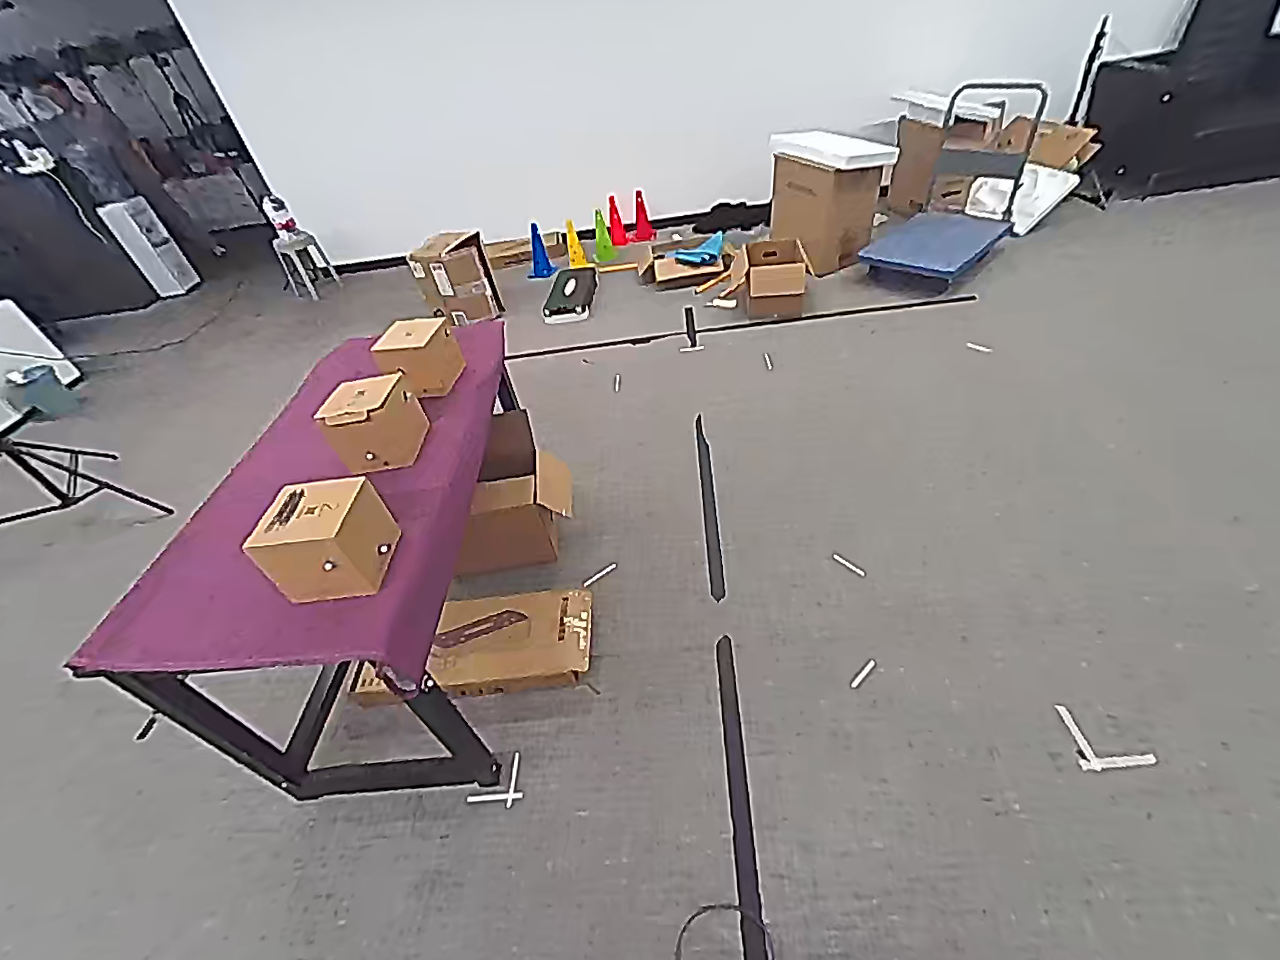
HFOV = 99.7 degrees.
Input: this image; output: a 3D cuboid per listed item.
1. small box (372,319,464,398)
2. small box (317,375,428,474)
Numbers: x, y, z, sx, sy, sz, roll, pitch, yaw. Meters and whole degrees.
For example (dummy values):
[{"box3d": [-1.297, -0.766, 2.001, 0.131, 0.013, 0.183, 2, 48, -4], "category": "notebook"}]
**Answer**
[{"box3d": [-0.643, -0.352, 1.592, 0.168, 0.176, 0.179, -2, 42, 9], "category": "small box"}, {"box3d": [-0.656, -0.138, 1.355, 0.168, 0.176, 0.179, -9, 42, 5], "category": "small box"}]
